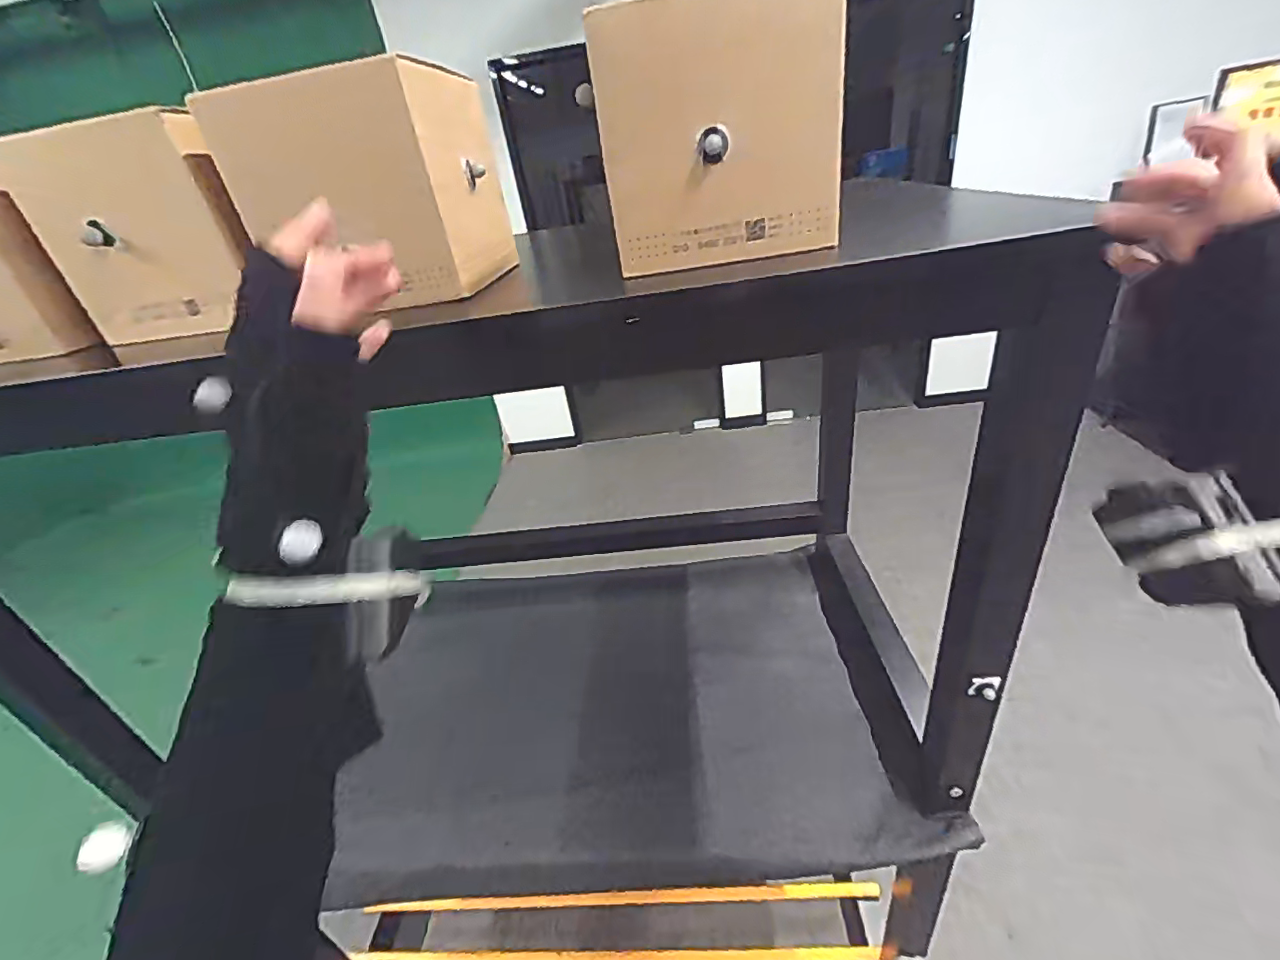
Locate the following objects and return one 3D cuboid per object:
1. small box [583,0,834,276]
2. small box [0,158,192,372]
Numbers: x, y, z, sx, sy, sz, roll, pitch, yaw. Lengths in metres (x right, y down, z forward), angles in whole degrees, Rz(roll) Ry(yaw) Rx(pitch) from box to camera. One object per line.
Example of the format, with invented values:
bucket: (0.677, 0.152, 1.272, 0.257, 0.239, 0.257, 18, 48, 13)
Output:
small box: (0.059, -0.275, 0.449, 0.168, 0.176, 0.179, -6, 30, 6)
small box: (-0.614, -0.216, 0.547, 0.168, 0.176, 0.179, -5, 31, 7)
